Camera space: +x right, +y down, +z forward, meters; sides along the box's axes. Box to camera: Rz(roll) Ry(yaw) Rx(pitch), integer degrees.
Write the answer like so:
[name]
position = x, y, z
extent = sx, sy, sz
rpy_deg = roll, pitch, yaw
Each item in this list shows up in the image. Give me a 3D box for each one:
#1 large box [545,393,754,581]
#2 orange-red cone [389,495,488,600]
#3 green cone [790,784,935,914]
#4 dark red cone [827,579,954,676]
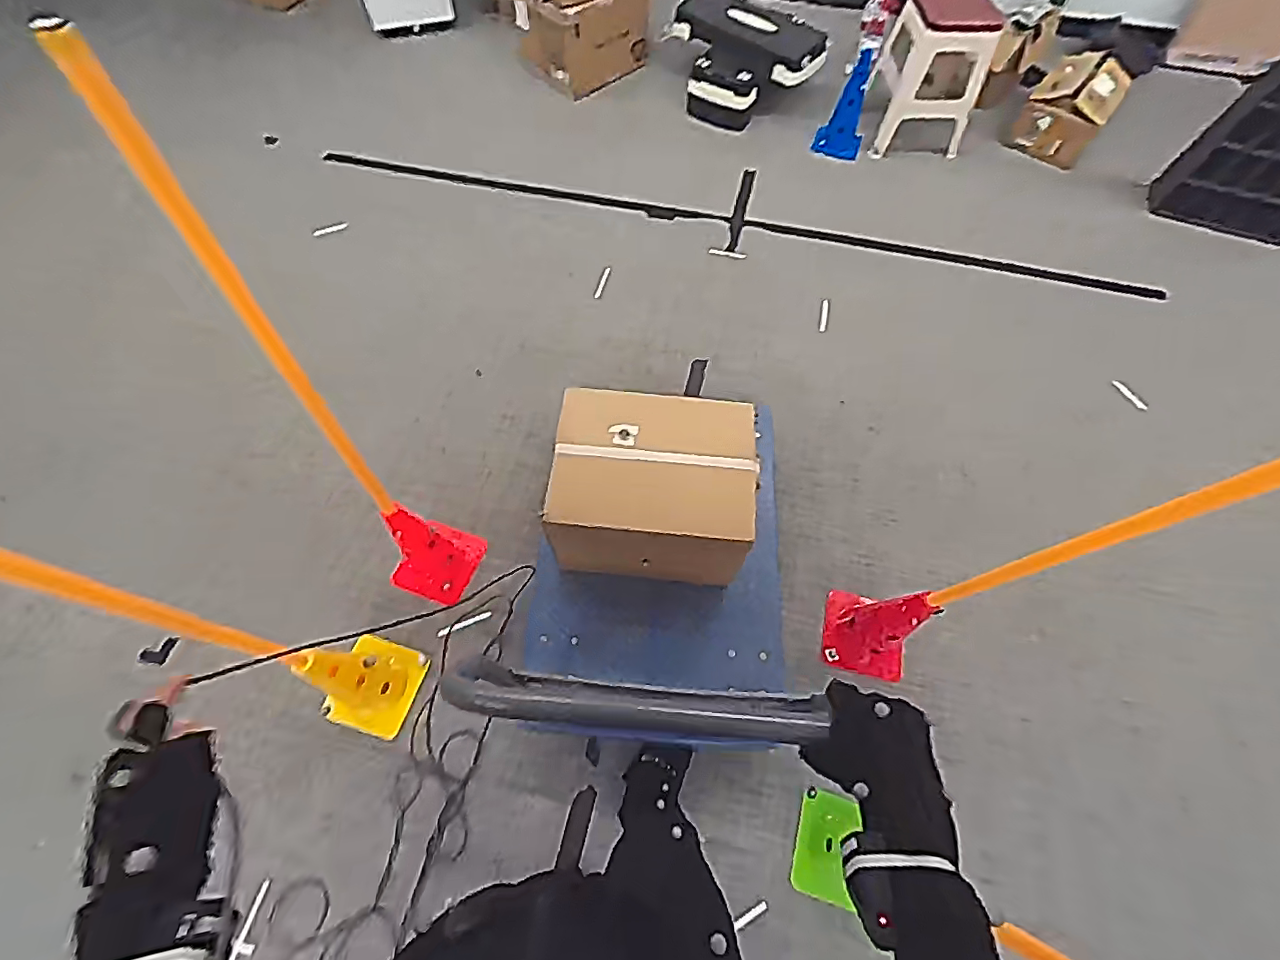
[large box]
position = 0.030, 0.029, 1.219
extent = 0.408, 0.320, 0.320
rpy_deg = 6, 64, 2
[orange-red cone]
position = -0.532, 0.128, 1.318
extent = 0.198, 0.360, 0.199
rpy_deg = 21, 63, 8
[green cone]
position = 0.445, 0.723, 1.029
extent = 0.202, 0.368, 0.200
rpy_deg = 17, 64, 6
[dark red cone]
position = 0.586, 0.304, 1.230
extent = 0.201, 0.394, 0.202
rpy_deg = 14, 64, 4
